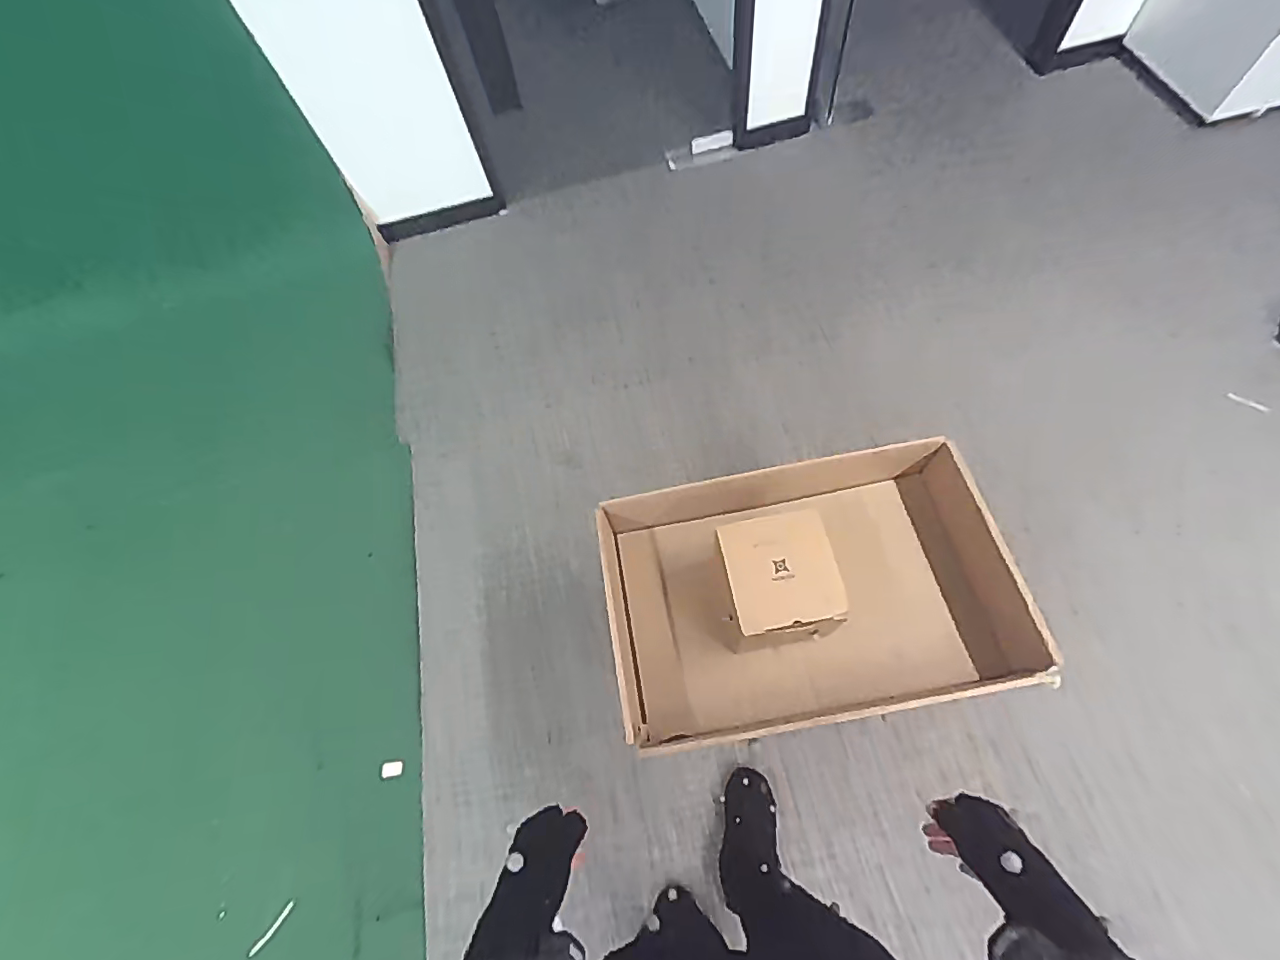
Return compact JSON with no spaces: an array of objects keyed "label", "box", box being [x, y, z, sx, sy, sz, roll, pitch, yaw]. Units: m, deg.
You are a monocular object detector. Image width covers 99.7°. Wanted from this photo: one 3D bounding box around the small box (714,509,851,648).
[{"label":"small box","box":[0.222,0.172,0.894,0.168,0.176,0.179,-11,62,-1]}]
